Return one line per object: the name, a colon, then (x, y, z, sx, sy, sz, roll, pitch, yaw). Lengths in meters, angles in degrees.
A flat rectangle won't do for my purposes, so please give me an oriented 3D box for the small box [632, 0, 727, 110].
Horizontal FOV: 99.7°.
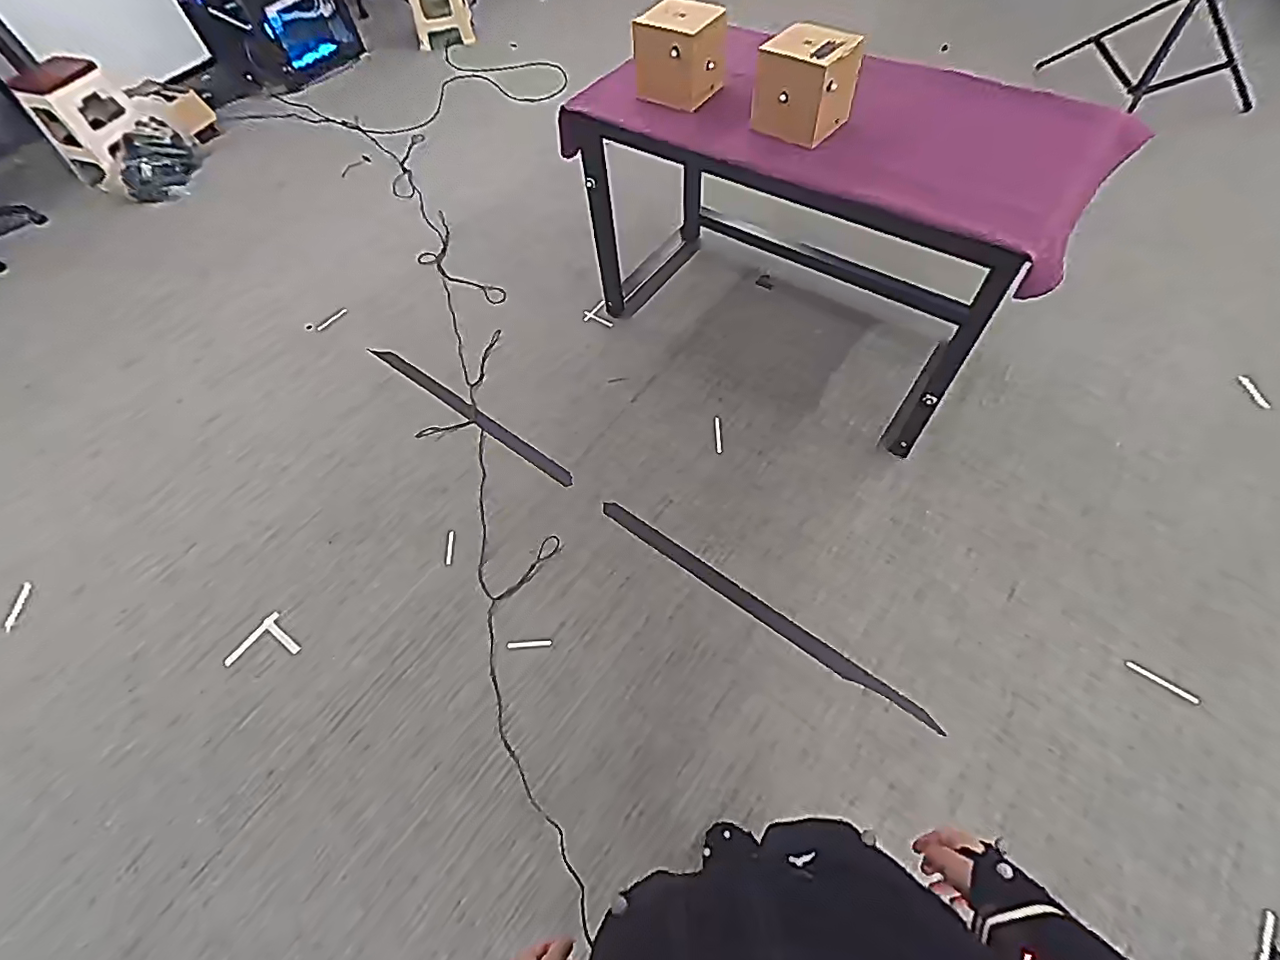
small box: (0.101, -1.073, 1.369, 0.179, 0.176, 0.168, 29, 64, 20)
